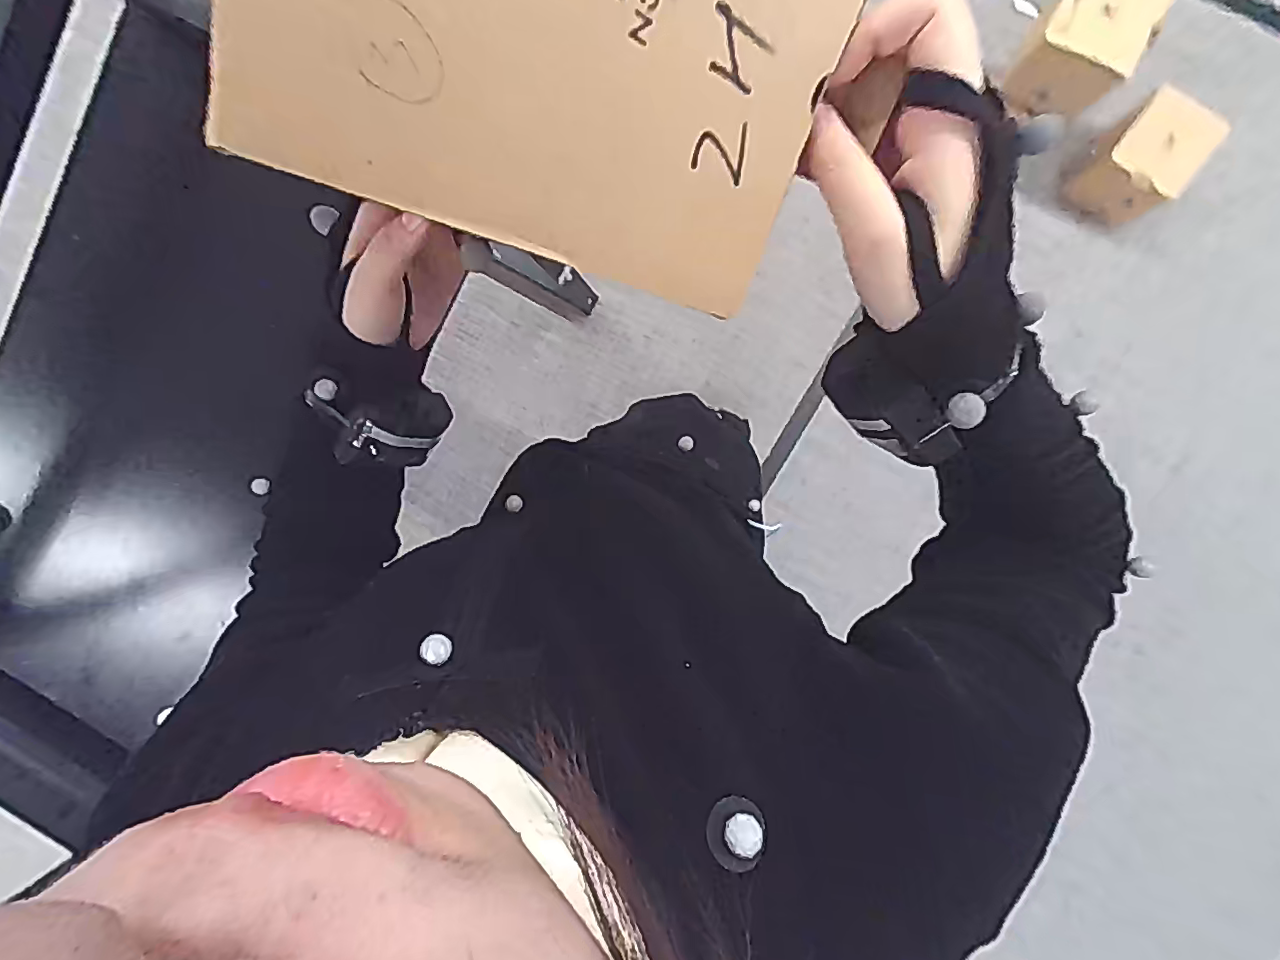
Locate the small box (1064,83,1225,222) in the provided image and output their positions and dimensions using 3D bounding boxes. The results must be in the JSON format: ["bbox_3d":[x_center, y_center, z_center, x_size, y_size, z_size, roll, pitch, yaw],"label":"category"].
[{"bbox_3d":[1.110,-0.719,1.213,0.168,0.176,0.179,34,97,1],"label":"small box"}]

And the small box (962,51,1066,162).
[{"bbox_3d":[0.869,-0.865,1.220,0.168,0.176,0.179,31,97,2],"label":"small box"}]

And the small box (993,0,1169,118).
[{"bbox_3d":[0.850,-0.854,1.057,0.179,0.176,0.168,26,97,2],"label":"small box"}]

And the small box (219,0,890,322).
[{"bbox_3d":[-0.034,-0.182,0.208,0.179,0.176,0.168,8,115,-34],"label":"small box"}]
